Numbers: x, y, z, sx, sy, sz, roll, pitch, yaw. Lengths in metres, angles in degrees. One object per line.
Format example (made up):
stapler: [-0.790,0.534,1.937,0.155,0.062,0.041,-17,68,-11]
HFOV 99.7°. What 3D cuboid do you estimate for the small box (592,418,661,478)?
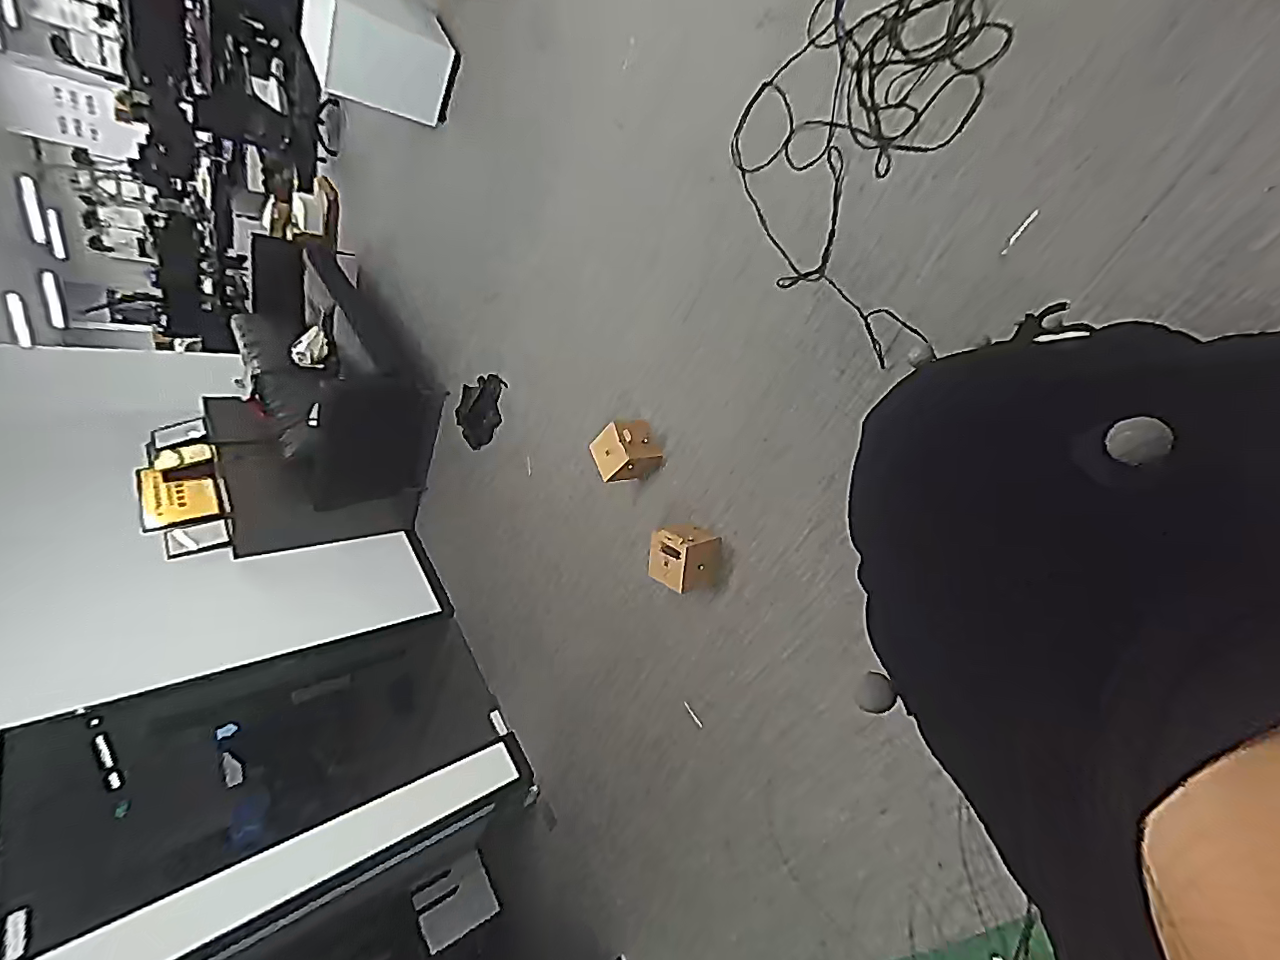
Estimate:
small box: [-0.050,-0.122,2.040,0.179,0.176,0.168,-41,65,43]
